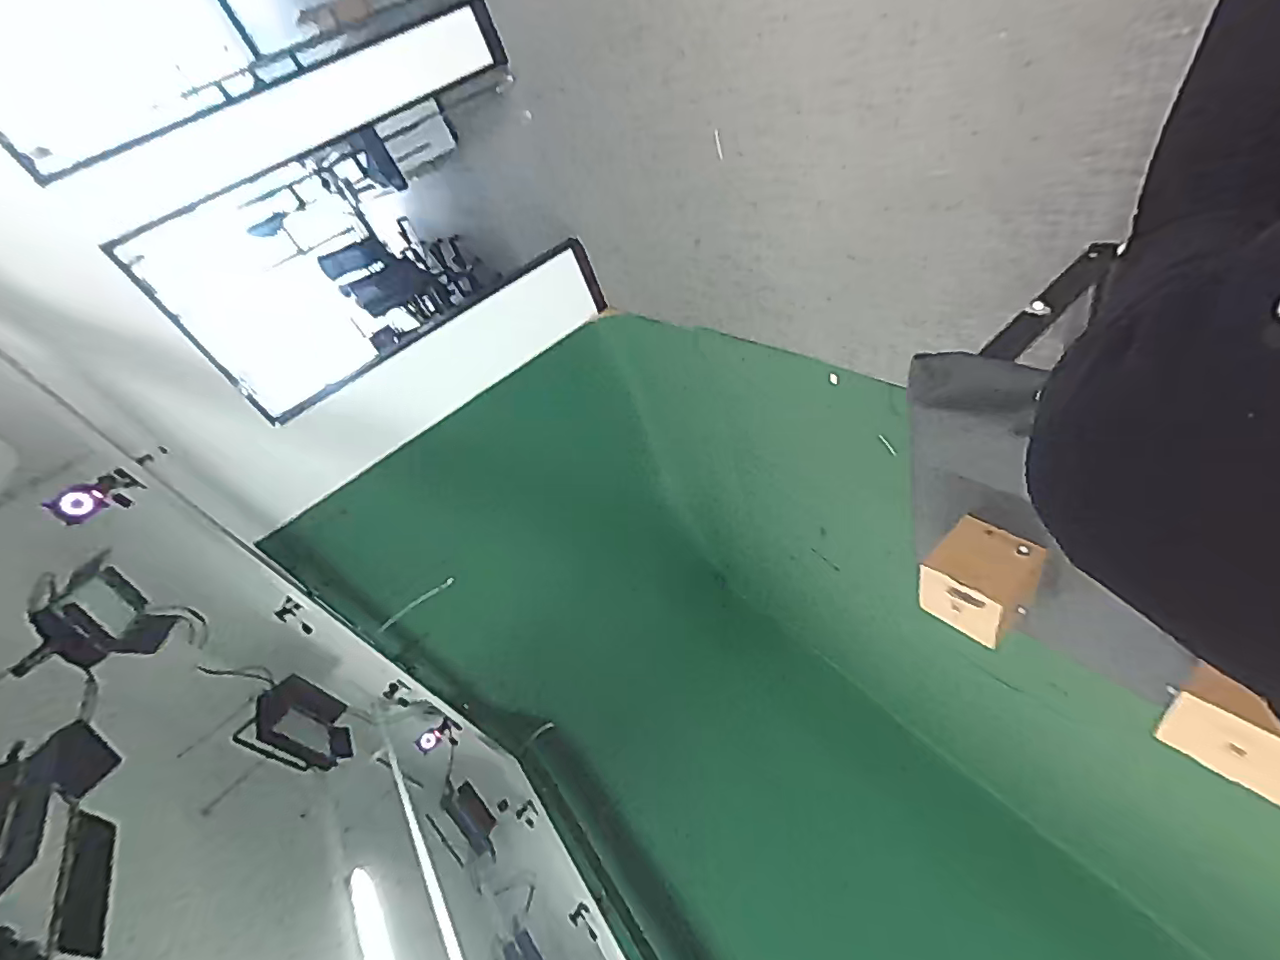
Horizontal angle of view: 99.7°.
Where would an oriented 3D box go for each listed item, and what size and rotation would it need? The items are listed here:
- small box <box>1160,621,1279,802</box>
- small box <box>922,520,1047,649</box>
[{"bbox_3d":[0.977,0.361,0.849,0.168,0.176,0.179,30,153,47],"label":"small box"},{"bbox_3d":[0.737,0.218,1.163,0.168,0.176,0.179,34,157,45],"label":"small box"}]
